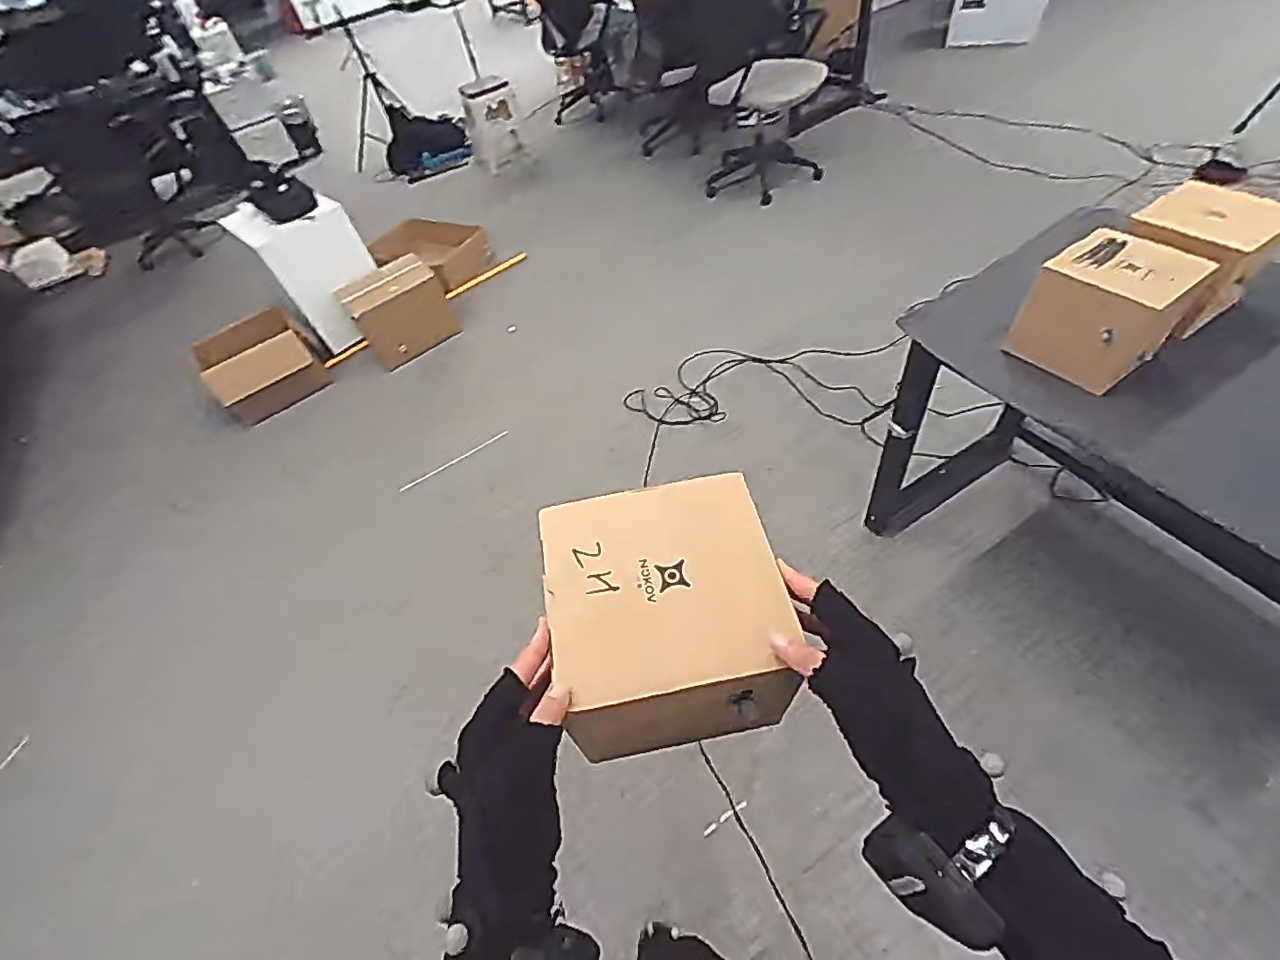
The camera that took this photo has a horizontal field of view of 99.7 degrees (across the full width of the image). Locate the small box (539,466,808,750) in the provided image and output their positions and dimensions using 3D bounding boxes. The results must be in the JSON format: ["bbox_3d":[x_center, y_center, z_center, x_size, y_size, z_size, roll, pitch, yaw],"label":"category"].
[{"bbox_3d":[0.020,0.114,0.463,0.179,0.176,0.168,-11,52,-2],"label":"small box"}]

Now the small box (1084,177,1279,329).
[{"bbox_3d":[0.947,-0.391,0.946,0.168,0.176,0.179,-32,52,-13],"label":"small box"}]
